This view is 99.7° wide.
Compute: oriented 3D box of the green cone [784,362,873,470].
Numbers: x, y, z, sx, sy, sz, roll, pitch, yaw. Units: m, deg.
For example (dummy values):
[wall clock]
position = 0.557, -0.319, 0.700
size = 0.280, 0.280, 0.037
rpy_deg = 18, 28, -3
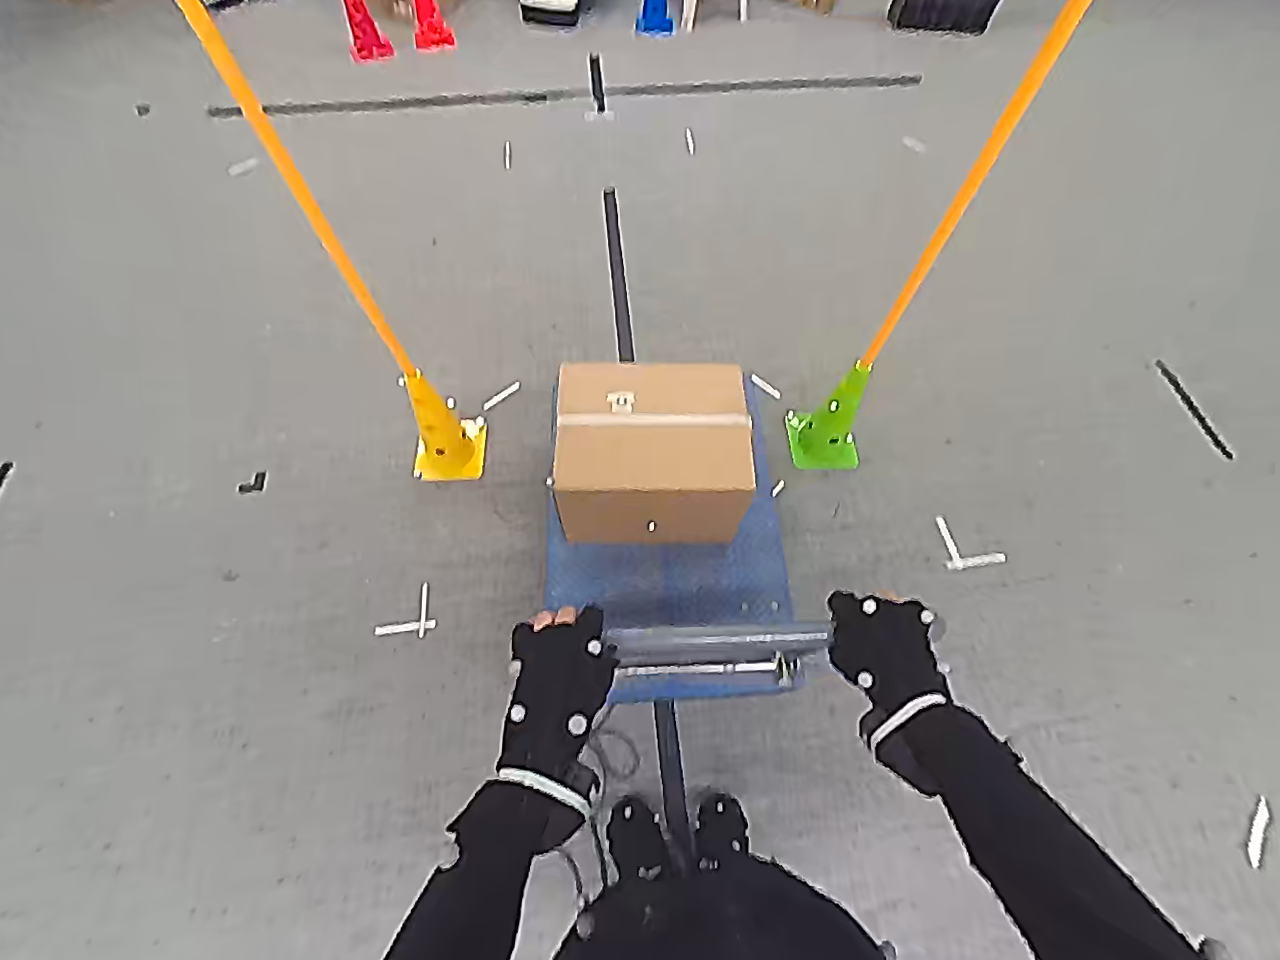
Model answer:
[green cone]
position = 0.566, -0.198, 1.540
size = 0.202, 0.368, 0.200
rpy_deg = -1, 62, -3

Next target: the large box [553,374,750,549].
[large box]
position = 0.021, -0.032, 1.280
size = 0.408, 0.320, 0.320
rpy_deg = -1, 62, -1
